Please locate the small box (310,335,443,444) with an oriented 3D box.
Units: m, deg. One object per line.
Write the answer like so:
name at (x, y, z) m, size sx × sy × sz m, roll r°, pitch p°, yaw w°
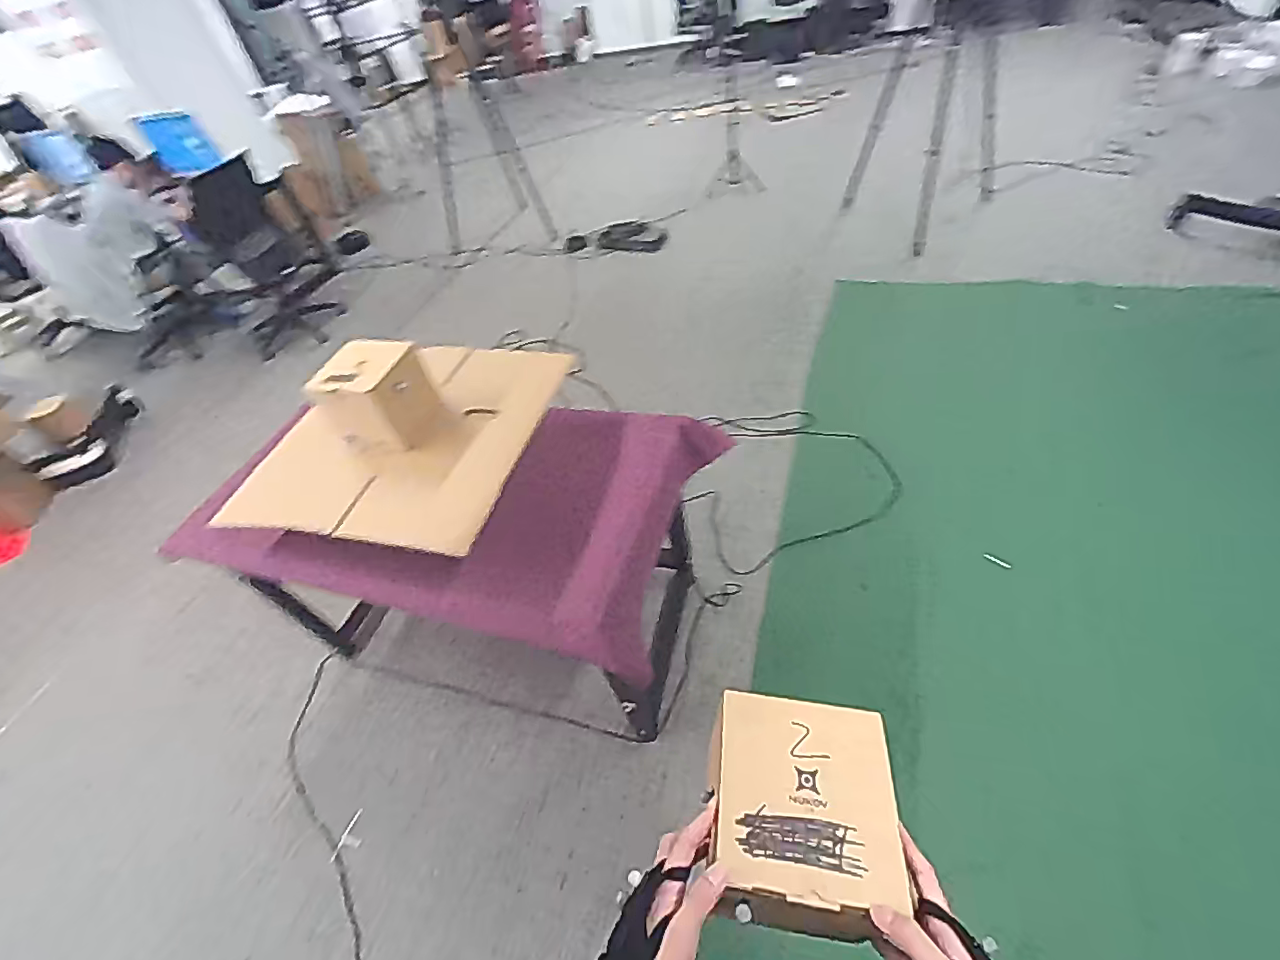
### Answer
small box at (-0.565, -0.199, 1.190) m, size 0.168 × 0.176 × 0.179 m, roll 7°, pitch 50°, yaw 16°
